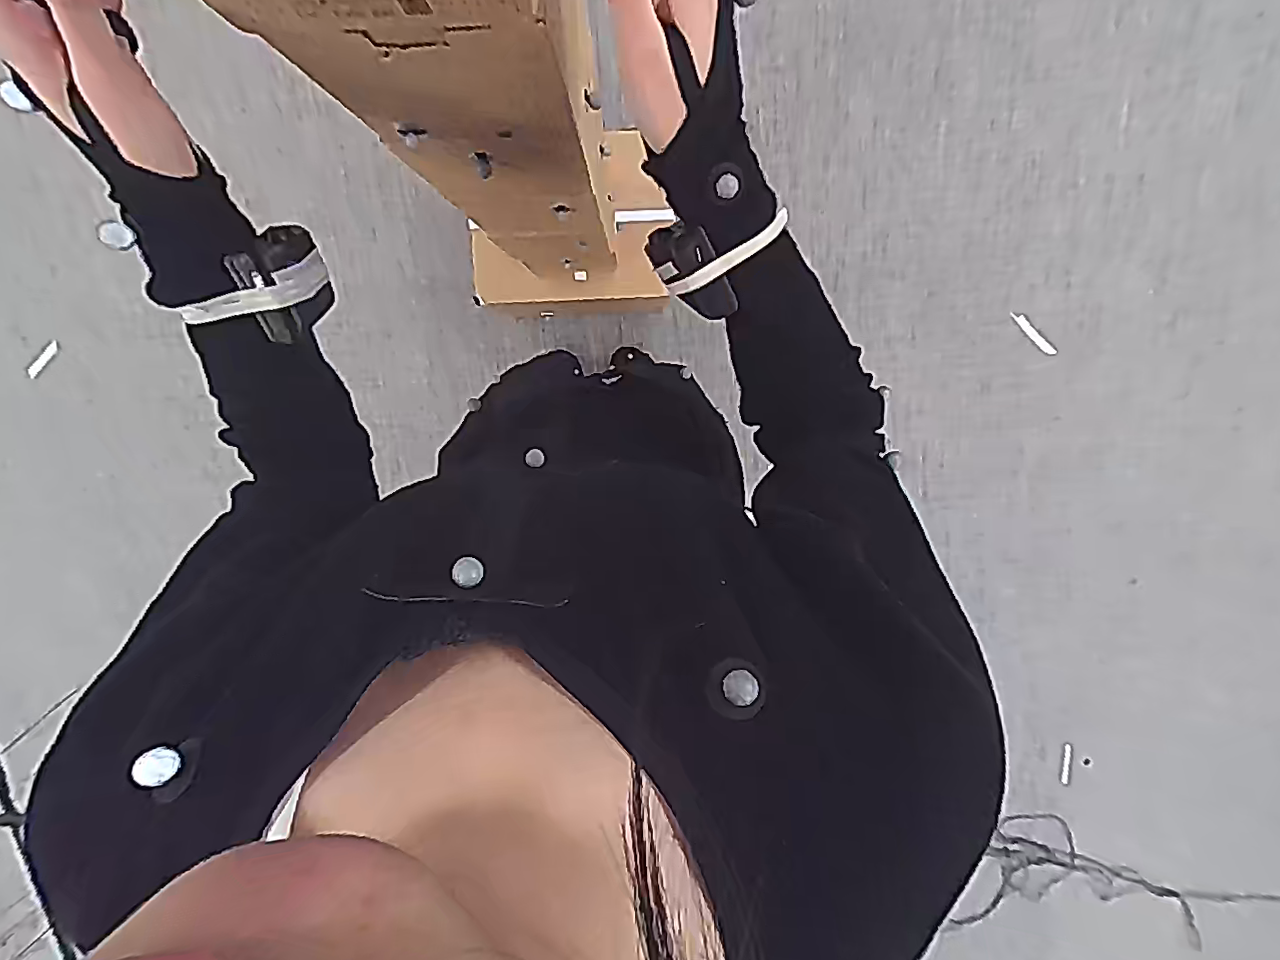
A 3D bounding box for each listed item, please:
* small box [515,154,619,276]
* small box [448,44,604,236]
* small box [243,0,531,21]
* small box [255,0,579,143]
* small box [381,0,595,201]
[{"bbox_3d":[-0.134,-0.481,1.004,0.179,0.176,0.168,-5,103,0],"label":"small box"},{"bbox_3d":[-0.135,-0.415,0.682,0.179,0.176,0.168,-1,102,0],"label":"small box"},{"bbox_3d":[-0.138,-0.313,0.203,0.168,0.176,0.179,-2,103,0],"label":"small box"},{"bbox_3d":[-0.132,-0.350,0.363,0.168,0.176,0.179,-1,102,0],"label":"small box"},{"bbox_3d":[-0.135,-0.383,0.524,0.179,0.176,0.168,-1,103,0],"label":"small box"}]
